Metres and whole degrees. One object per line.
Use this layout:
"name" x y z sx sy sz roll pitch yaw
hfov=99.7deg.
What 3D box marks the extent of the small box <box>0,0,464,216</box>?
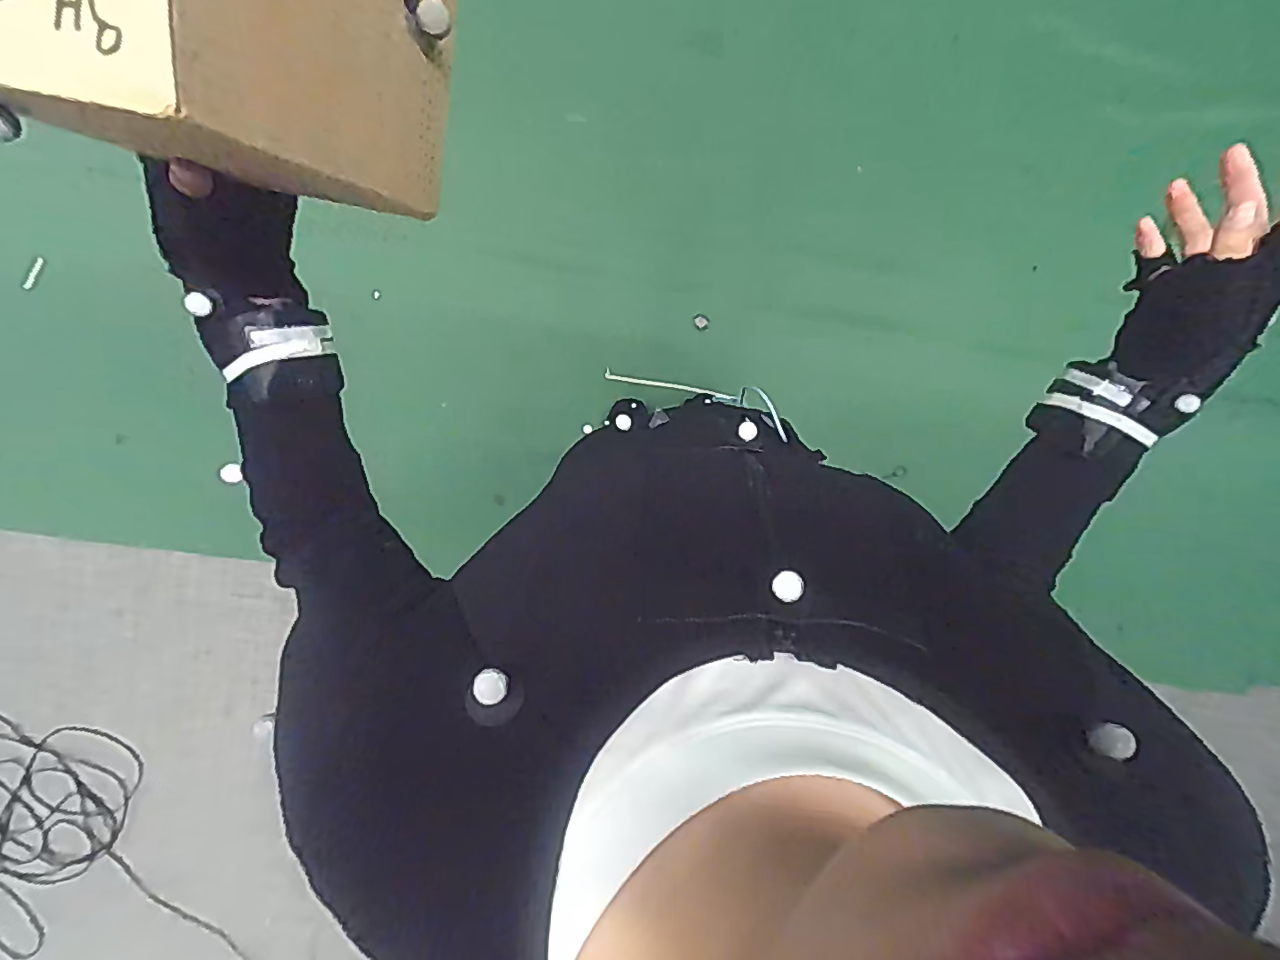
"small box" -0.188 -0.233 0.223 0.168 0.176 0.179 15 107 5
